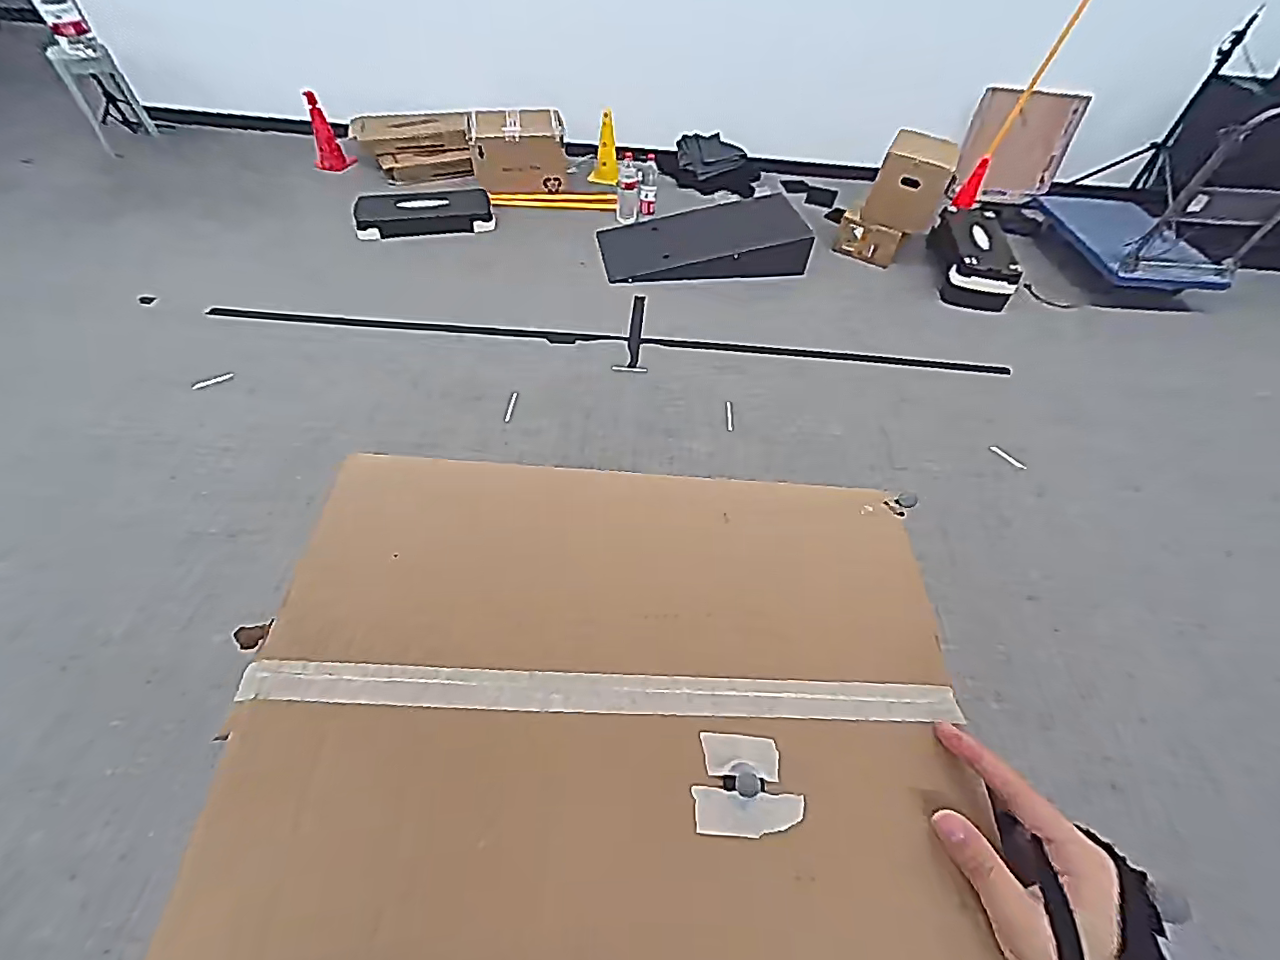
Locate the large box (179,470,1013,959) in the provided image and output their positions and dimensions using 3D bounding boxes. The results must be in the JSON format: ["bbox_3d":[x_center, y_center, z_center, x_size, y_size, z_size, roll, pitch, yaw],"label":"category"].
[{"bbox_3d":[-0.026,0.213,0.446,0.408,0.320,0.320,4,56,-5],"label":"large box"}]
